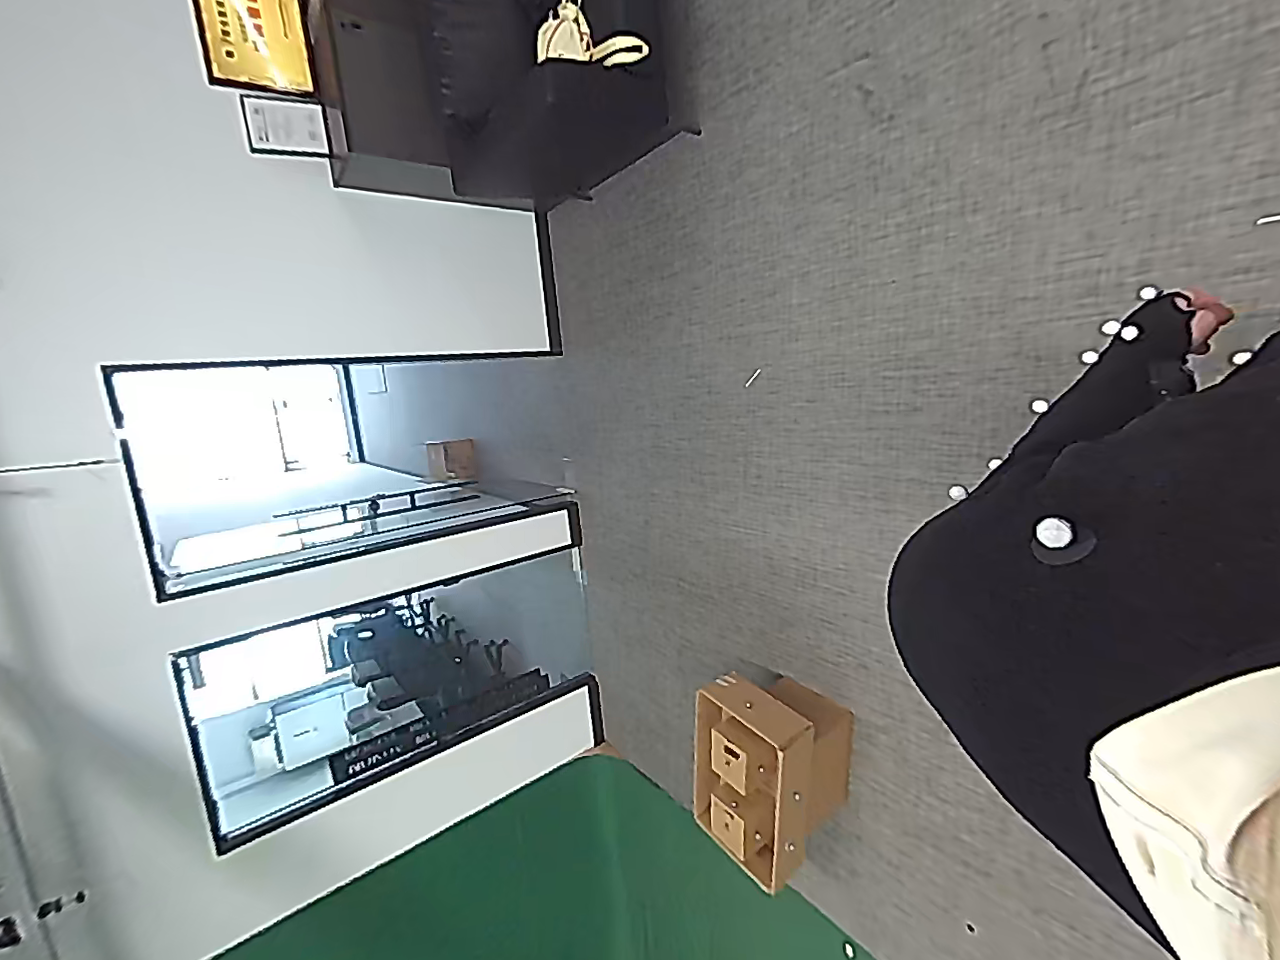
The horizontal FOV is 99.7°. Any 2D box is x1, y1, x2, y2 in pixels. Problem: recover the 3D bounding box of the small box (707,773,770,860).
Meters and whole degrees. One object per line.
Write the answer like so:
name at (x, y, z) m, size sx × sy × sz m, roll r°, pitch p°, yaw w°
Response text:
small box at (0.363, 1.229, 1.989) m, size 0.168 × 0.176 × 0.179 m, roll 15°, pitch 112°, yaw 51°
